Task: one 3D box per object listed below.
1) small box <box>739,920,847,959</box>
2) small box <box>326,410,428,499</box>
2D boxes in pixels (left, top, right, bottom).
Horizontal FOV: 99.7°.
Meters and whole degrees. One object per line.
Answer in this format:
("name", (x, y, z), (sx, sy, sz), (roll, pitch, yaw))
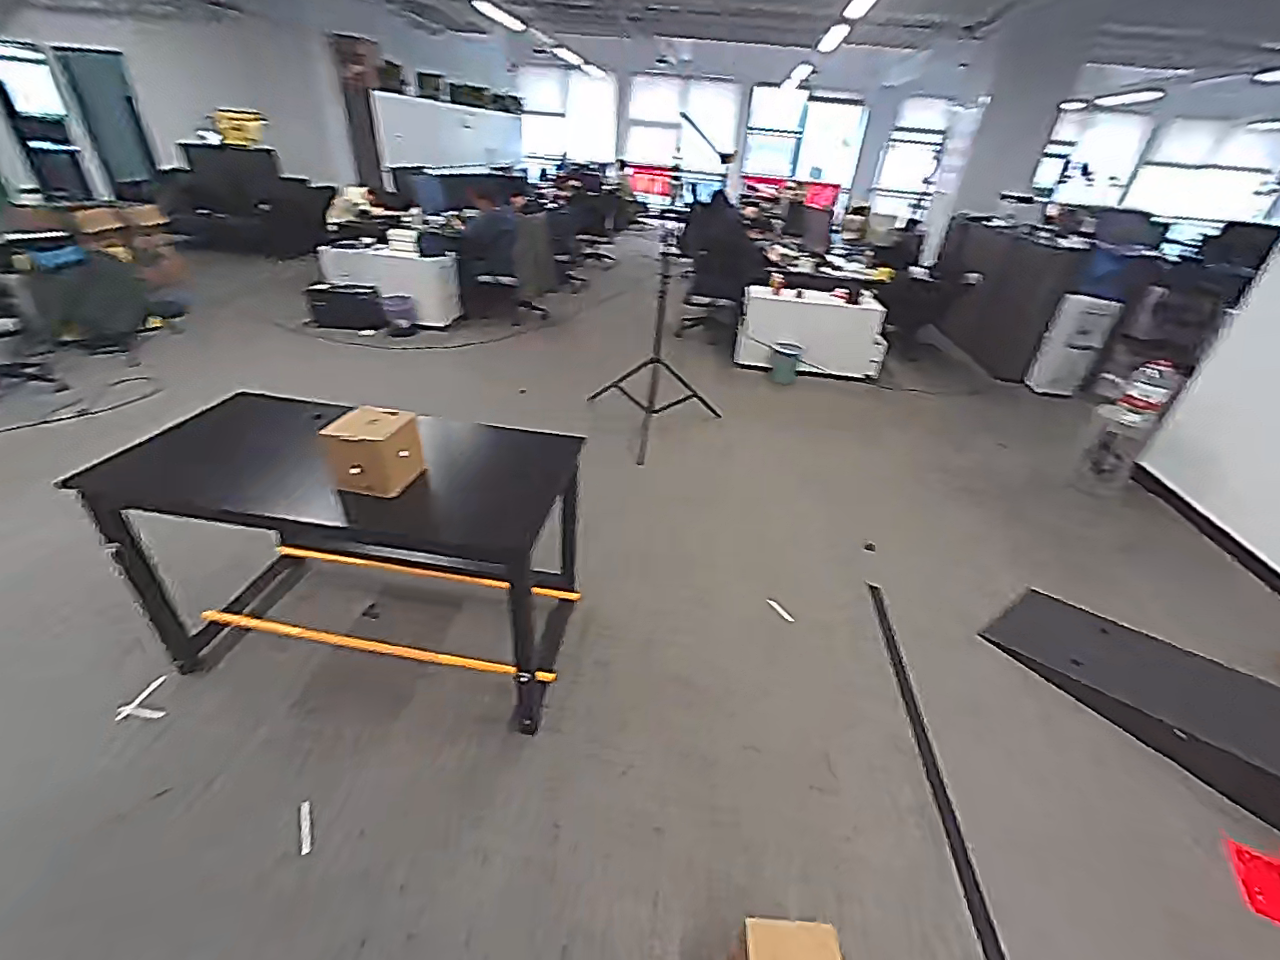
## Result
("small box", (0.284, 0.949, 0.993), (0.179, 0.176, 0.168), (3, 30, 0))
("small box", (-0.686, -0.068, 1.436), (0.168, 0.176, 0.179), (9, 32, 7))
